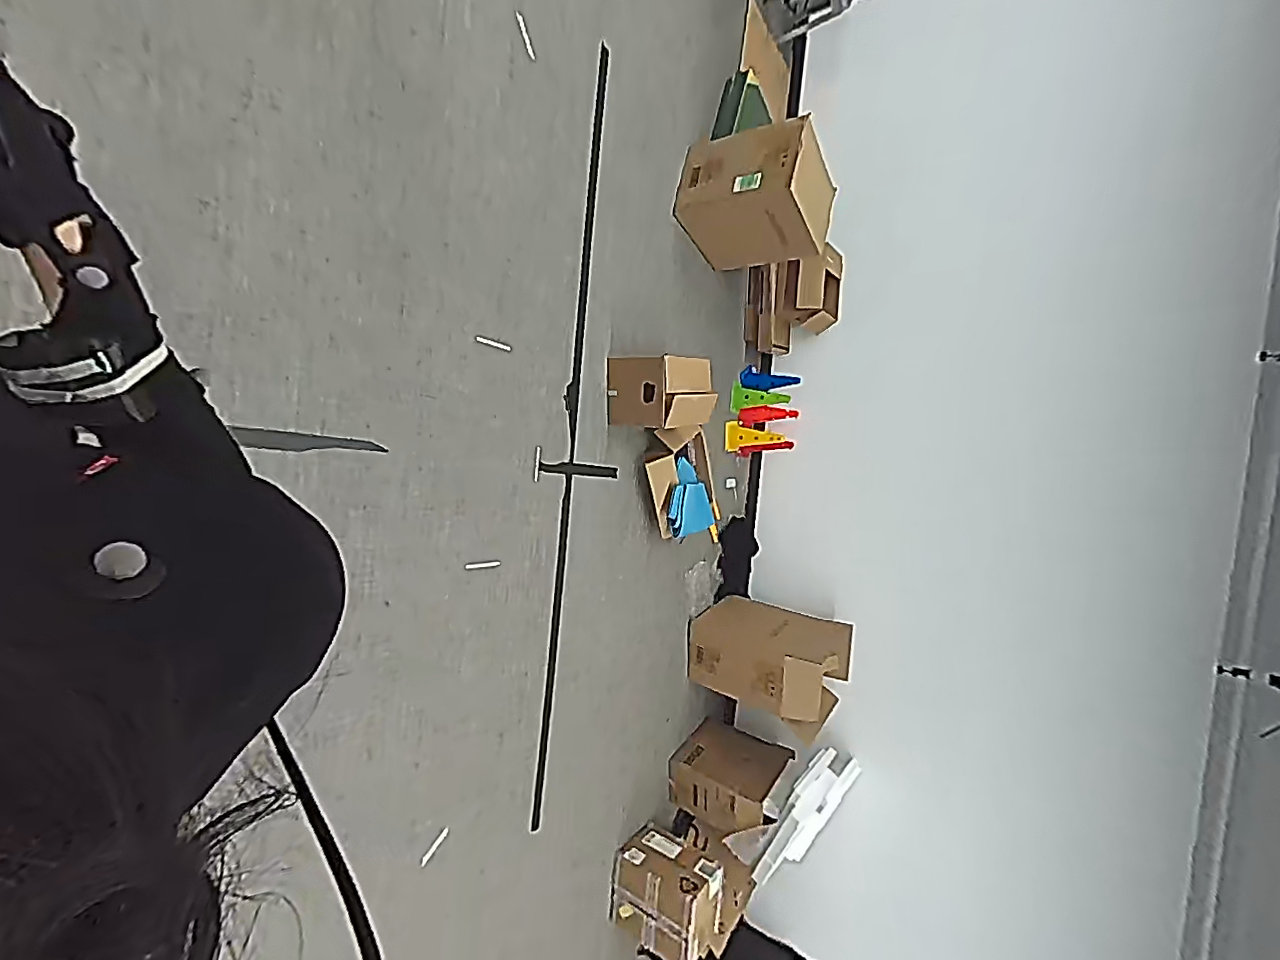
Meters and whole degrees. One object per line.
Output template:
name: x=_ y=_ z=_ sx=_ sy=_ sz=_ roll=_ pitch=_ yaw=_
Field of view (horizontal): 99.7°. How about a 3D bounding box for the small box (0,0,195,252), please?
small box: x=-0.410 y=-0.223 z=0.295 sx=0.176 sy=0.168 sz=0.179 roll=-106 pitch=175 yaw=-53
